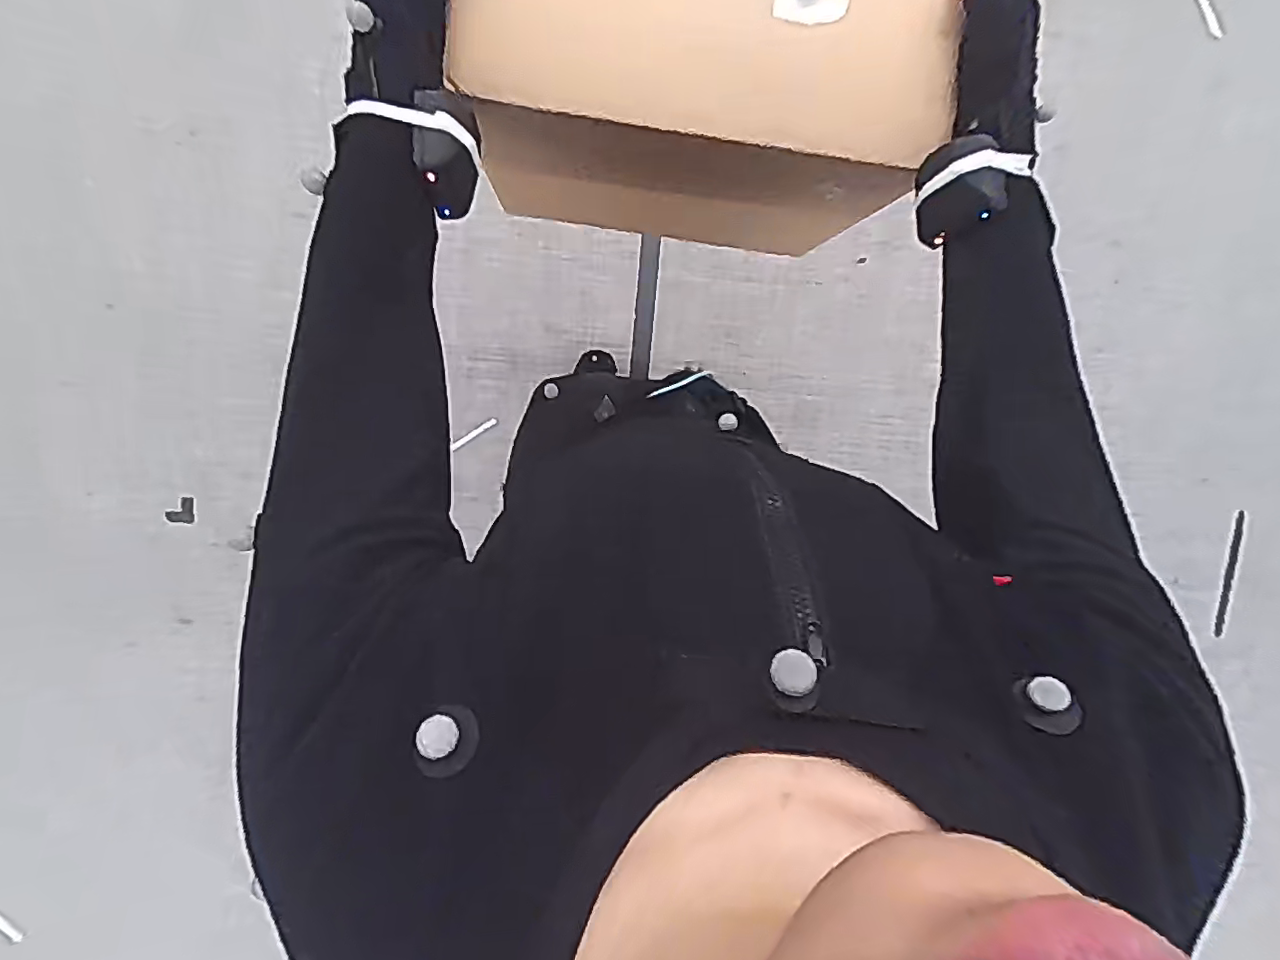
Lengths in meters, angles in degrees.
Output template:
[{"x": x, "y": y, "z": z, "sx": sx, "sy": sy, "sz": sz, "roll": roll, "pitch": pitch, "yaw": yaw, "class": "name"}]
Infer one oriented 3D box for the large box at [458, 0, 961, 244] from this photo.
[{"x": 0.053, "y": -0.463, "z": 0.559, "sx": 0.408, "sy": 0.320, "sz": 0.320, "roll": 6, "pitch": 102, "yaw": -7, "class": "large box"}]
